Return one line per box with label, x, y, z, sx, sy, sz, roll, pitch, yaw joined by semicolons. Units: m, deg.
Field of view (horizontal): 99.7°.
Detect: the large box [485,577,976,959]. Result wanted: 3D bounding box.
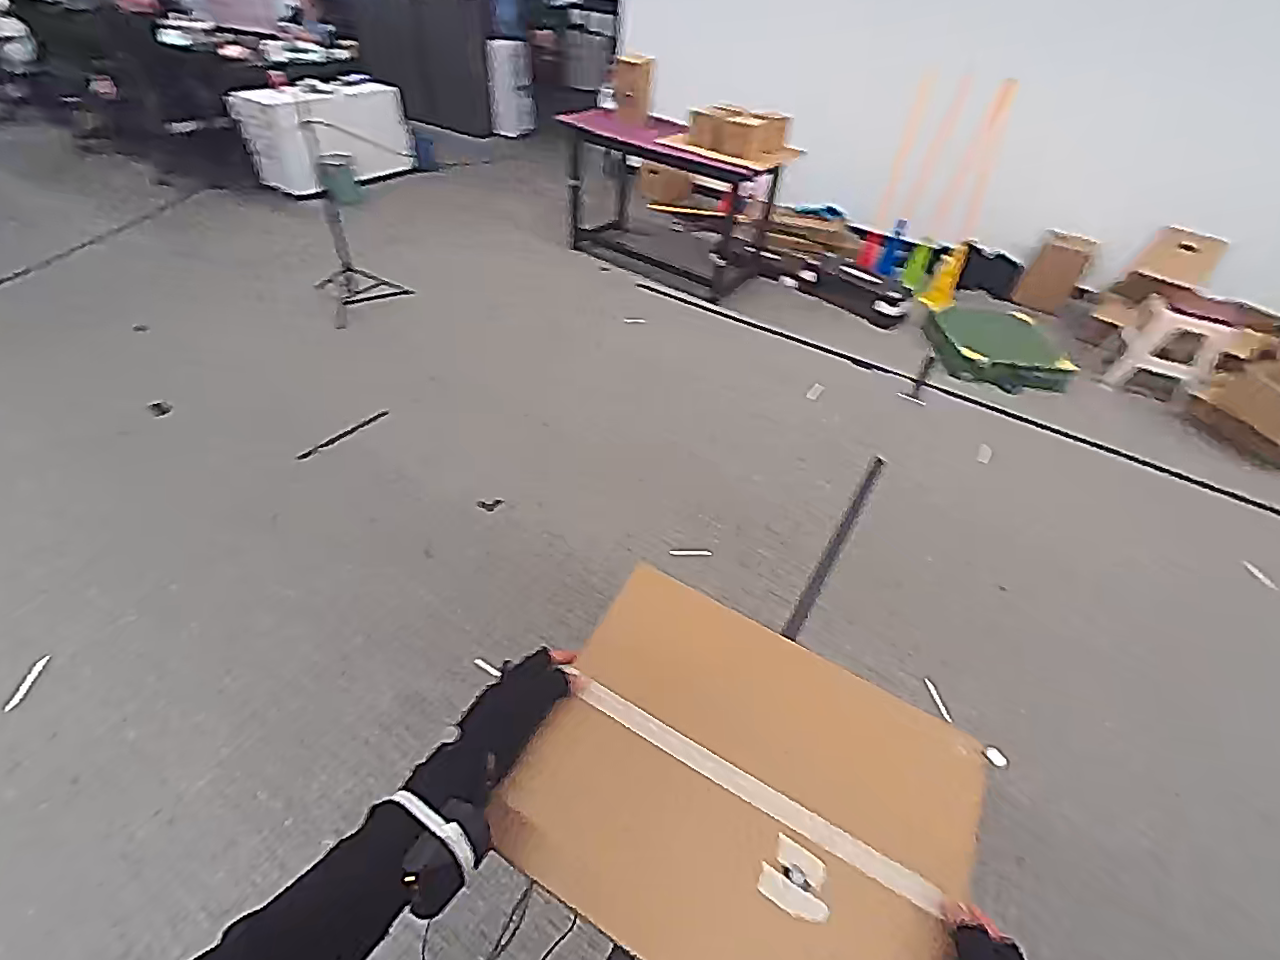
large box;0.091;0.389;0.643;0.408;0.320;0.320;27;57;15
